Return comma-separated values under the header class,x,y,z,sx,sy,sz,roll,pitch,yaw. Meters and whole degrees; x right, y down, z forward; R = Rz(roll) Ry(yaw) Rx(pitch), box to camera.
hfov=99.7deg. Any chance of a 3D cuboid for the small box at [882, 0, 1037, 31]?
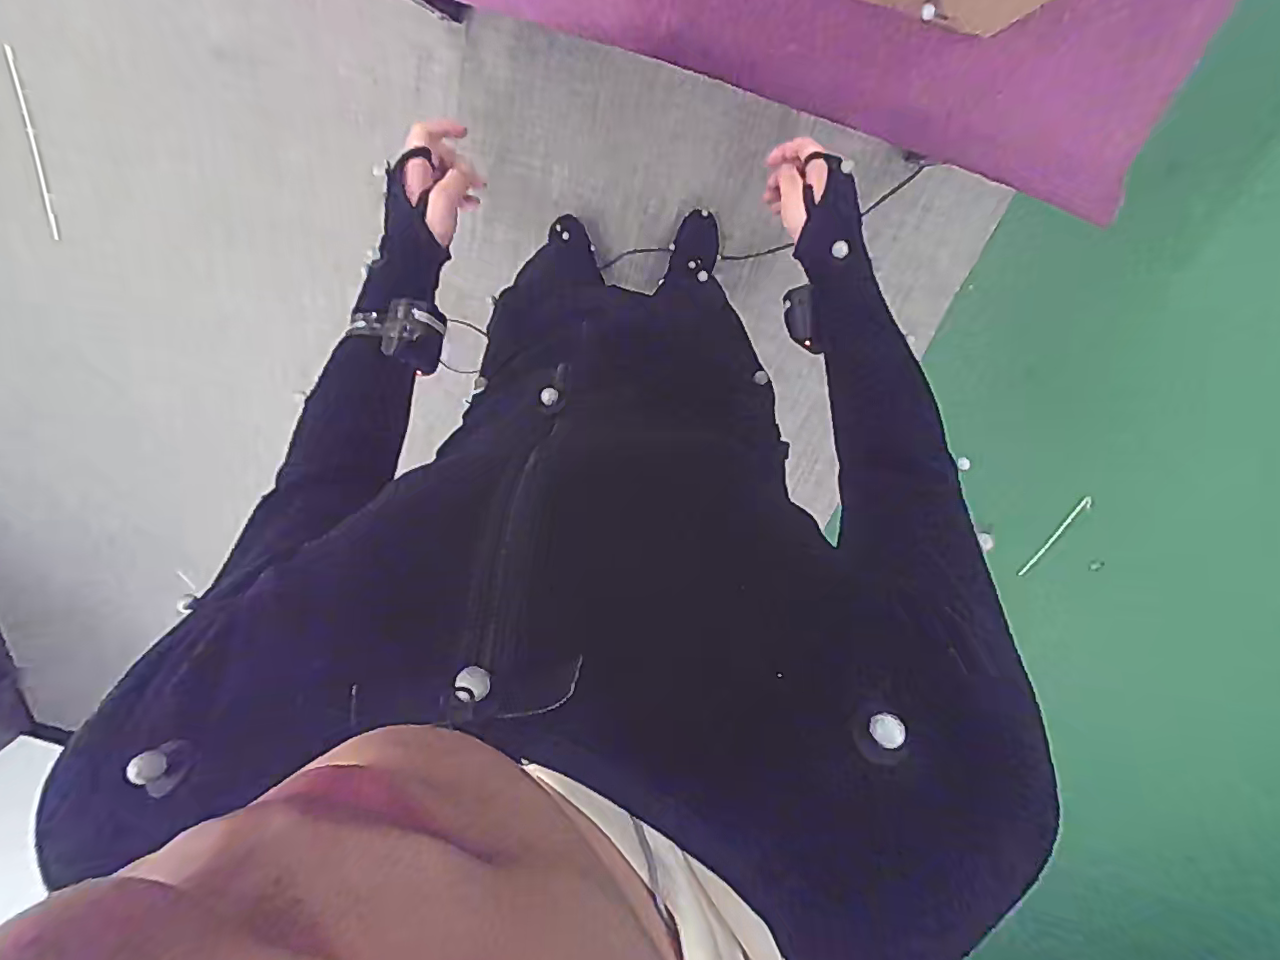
class,x,y,z,sx,sy,sz,roll,pitch,yaw
small box,0.315,-0.552,0.485,0.168,0.176,0.179,17,119,-1
